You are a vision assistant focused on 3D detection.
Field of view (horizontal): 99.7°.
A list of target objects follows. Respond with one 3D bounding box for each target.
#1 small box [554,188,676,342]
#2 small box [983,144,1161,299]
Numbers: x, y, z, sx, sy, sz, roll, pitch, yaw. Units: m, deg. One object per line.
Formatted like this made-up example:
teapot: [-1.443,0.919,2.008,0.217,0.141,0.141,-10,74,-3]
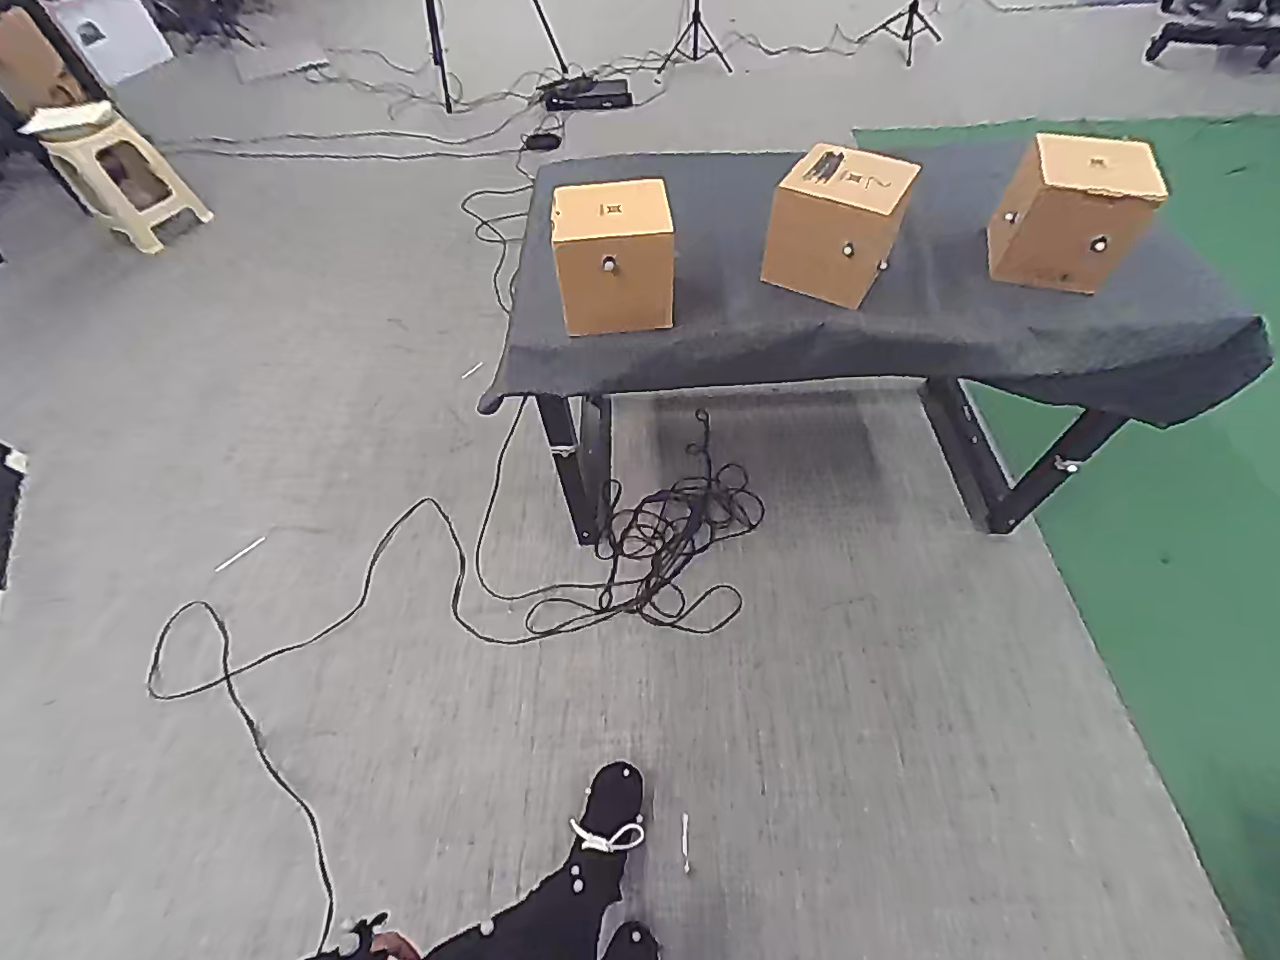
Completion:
small box: [-0.038,-0.345,0.878,0.179,0.176,0.168,-5,52,0]
small box: [0.703,-0.429,0.905,0.168,0.176,0.179,14,55,11]
